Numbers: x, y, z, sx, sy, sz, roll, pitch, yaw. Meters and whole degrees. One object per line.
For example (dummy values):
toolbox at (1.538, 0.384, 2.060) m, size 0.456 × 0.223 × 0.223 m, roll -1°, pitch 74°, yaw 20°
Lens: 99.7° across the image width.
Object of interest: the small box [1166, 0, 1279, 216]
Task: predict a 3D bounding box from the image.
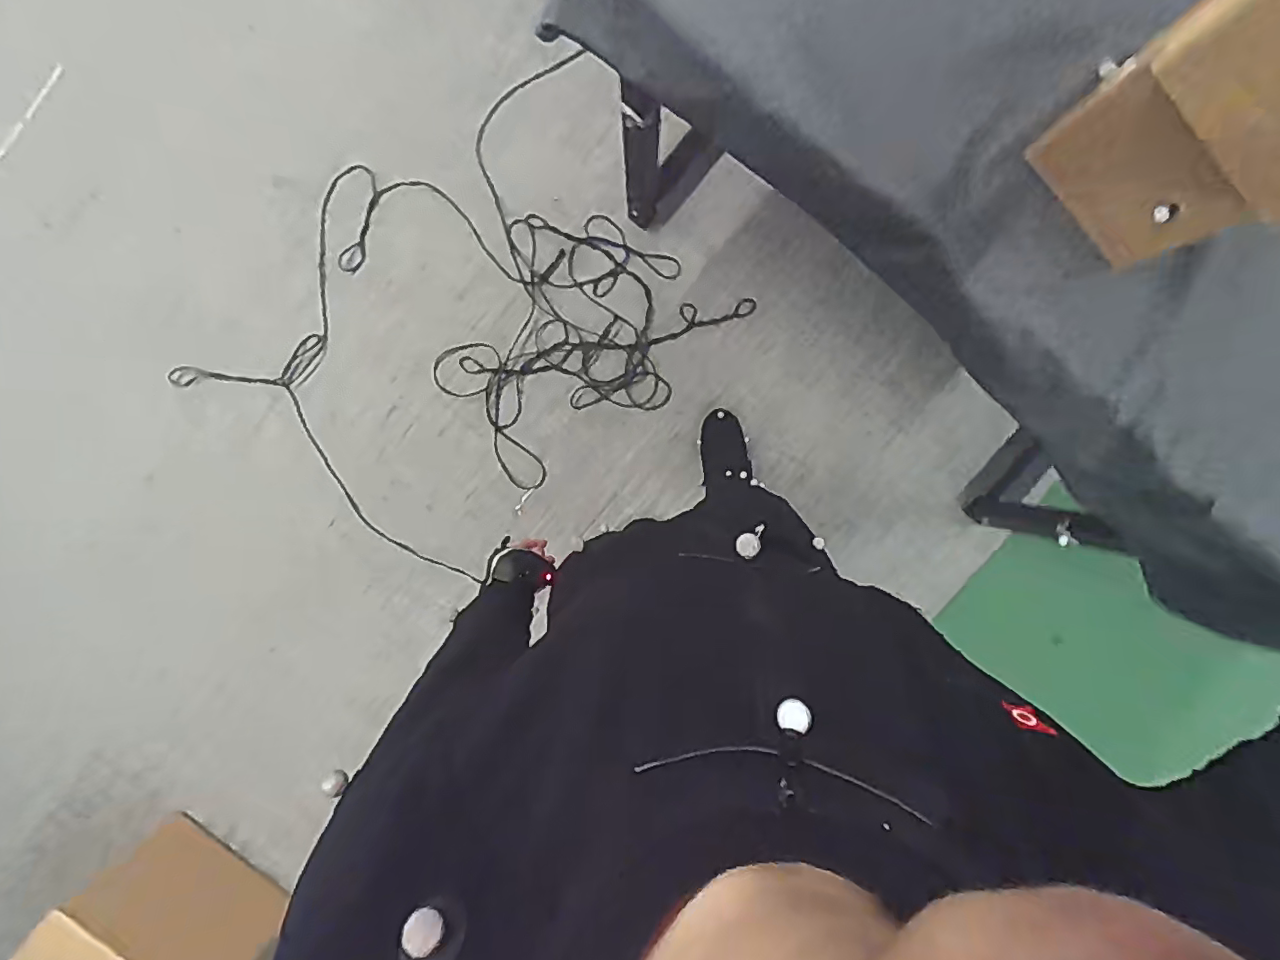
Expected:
small box at (0.544, -0.325, 0.374) m, size 0.168 × 0.176 × 0.179 m, roll -40°, pitch 93°, yaw 1°

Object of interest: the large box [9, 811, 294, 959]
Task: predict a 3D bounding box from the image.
large box at (-1.156, 1.111, 1.286) m, size 0.408 × 0.320 × 0.320 m, roll 40°, pitch 92°, yaw -1°

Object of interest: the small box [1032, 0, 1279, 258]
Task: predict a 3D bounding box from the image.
small box at (0.556, -0.349, 0.536) m, size 0.168 × 0.176 × 0.179 m, roll -42°, pitch 91°, yaw 1°
